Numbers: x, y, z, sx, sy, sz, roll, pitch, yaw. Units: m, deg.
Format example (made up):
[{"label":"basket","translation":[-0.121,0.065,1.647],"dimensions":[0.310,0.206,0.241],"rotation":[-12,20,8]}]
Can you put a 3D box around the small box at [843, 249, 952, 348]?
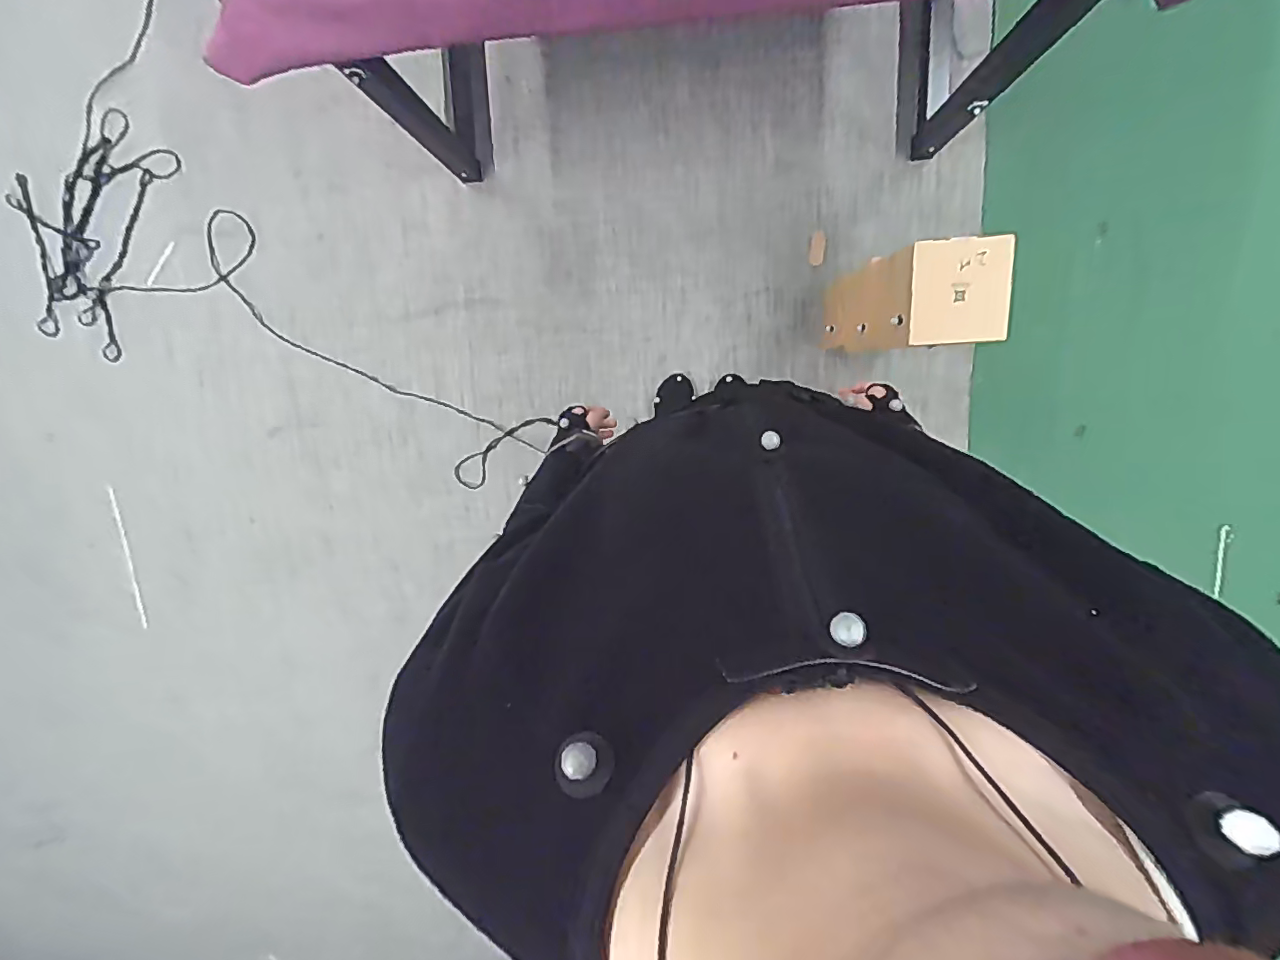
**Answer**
[{"label":"small box","translation":[0.544,-0.382,1.164],"dimensions":[0.168,0.176,0.179],"rotation":[-3,101,5]}]

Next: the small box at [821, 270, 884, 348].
[{"label":"small box","translation":[0.551,-0.413,1.322],"dimensions":[0.179,0.176,0.168],"rotation":[0,100,4]}]
